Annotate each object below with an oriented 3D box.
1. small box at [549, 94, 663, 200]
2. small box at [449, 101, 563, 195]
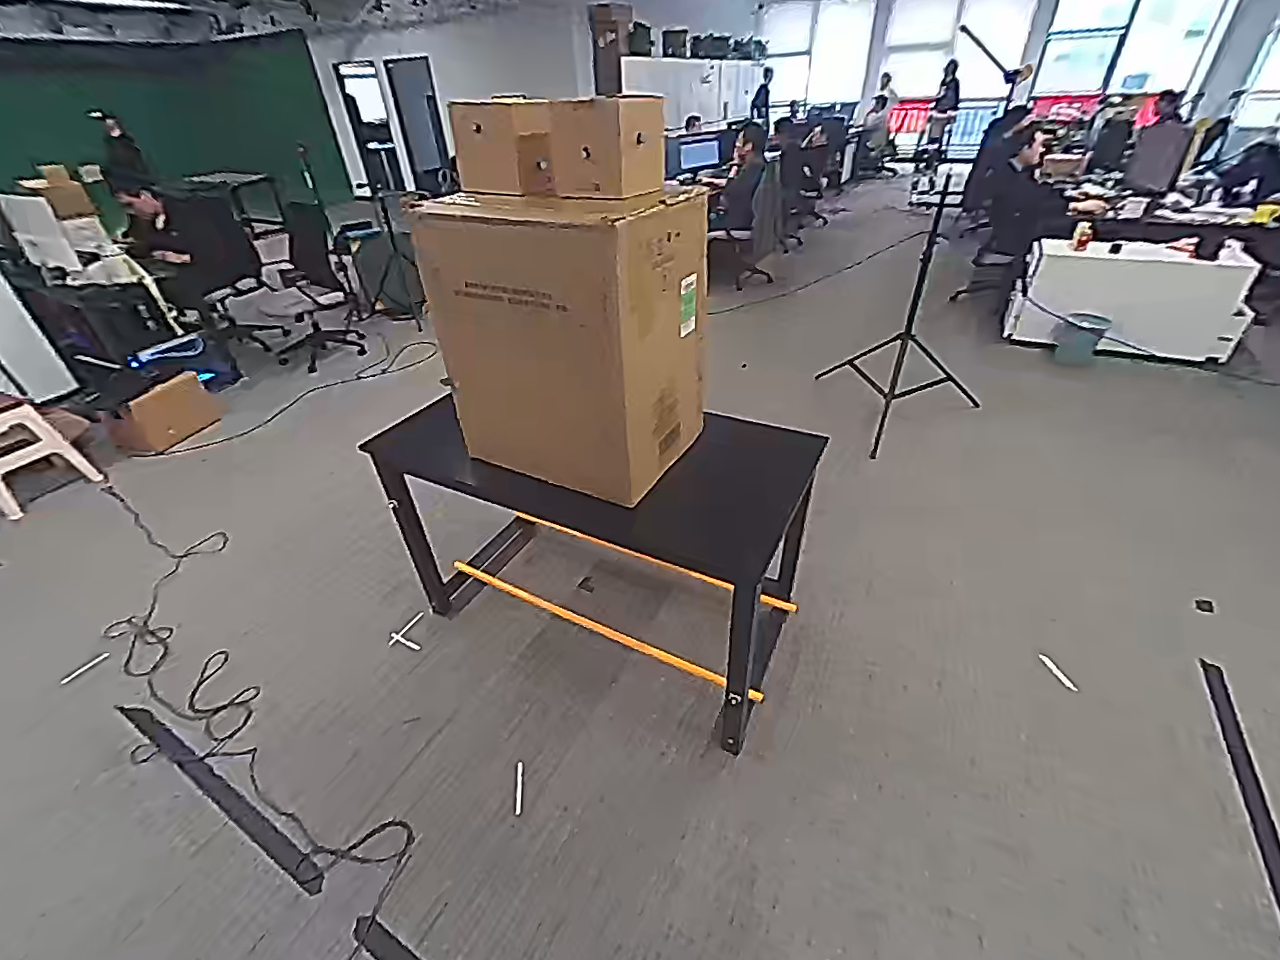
[{"bbox_3d":[-0.060,-0.677,1.105,0.168,0.176,0.179,17,39,25],"label":"small box"},{"bbox_3d":[-0.289,-0.741,1.206,0.179,0.176,0.168,18,40,23],"label":"small box"}]
